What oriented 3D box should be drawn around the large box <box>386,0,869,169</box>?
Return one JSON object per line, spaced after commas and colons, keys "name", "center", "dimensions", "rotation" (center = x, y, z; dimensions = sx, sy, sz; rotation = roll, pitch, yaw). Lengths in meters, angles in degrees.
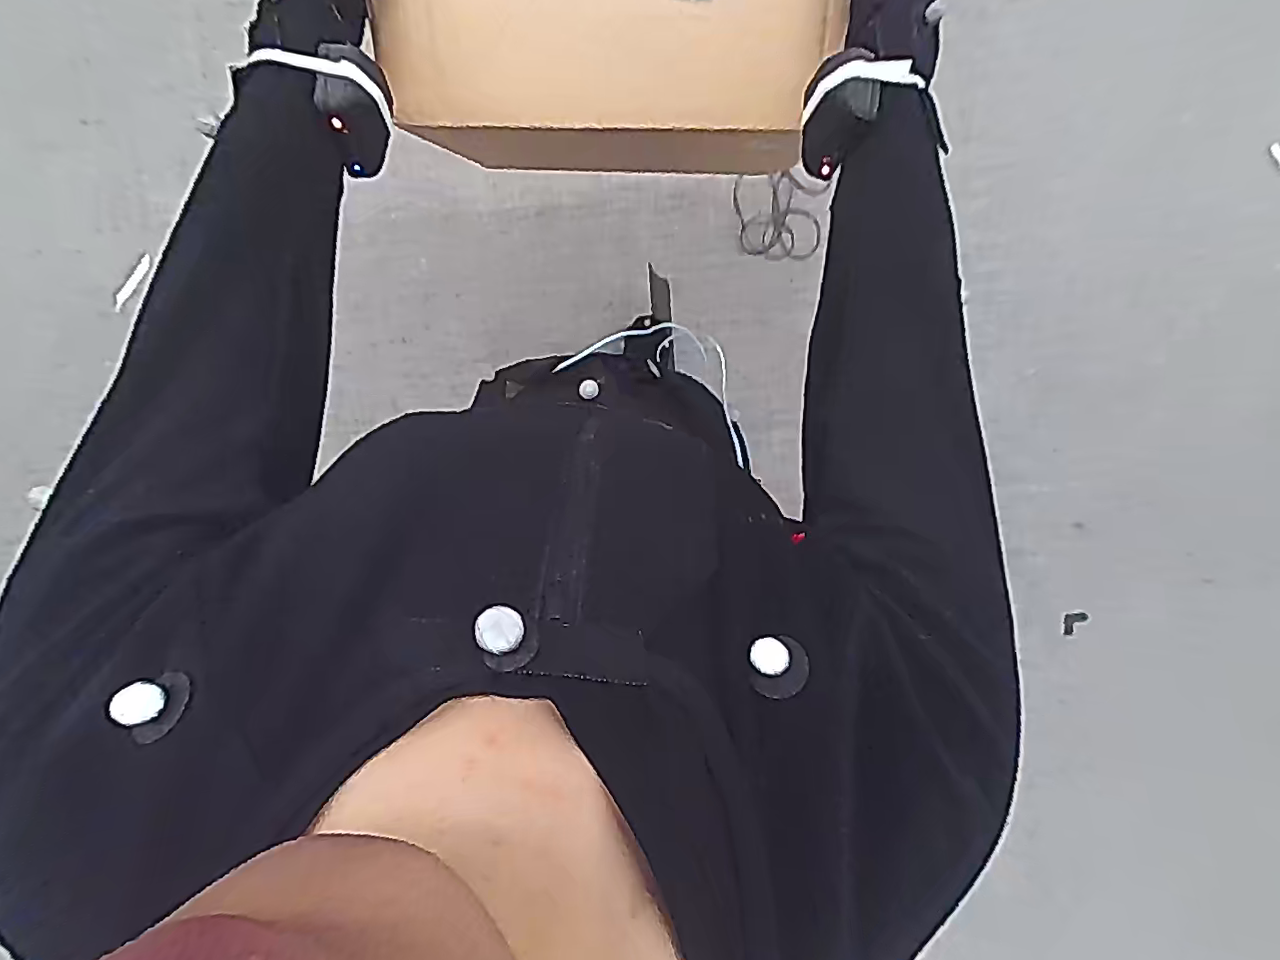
{"name": "large box", "center": [-0.011, -0.516, 0.551], "dimensions": [0.408, 0.320, 0.320], "rotation": [1, 114, 0]}
